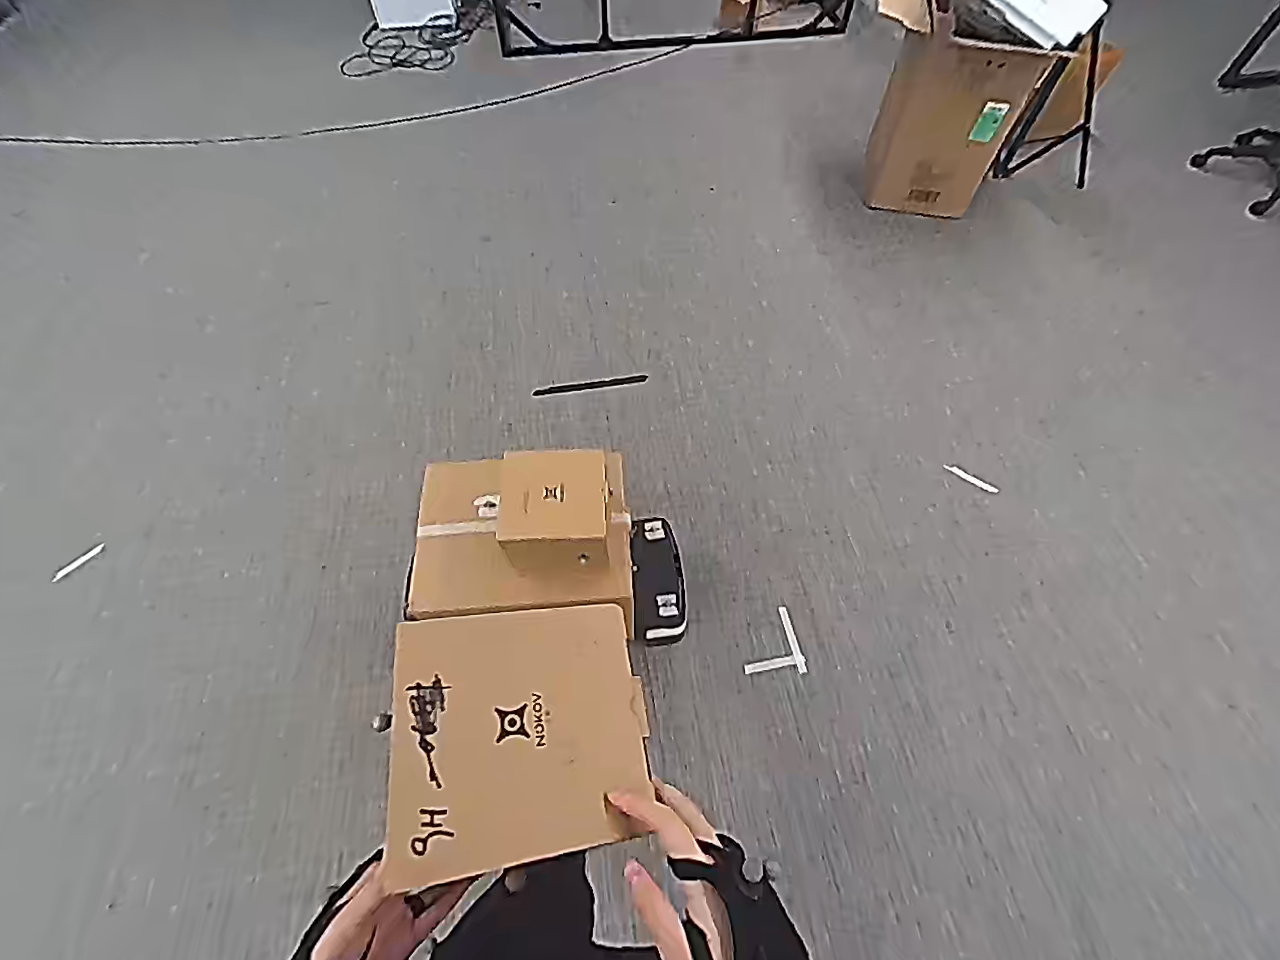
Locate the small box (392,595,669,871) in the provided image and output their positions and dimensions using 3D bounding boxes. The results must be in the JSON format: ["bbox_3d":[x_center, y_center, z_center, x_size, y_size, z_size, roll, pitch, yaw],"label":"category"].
[{"bbox_3d":[-0.097,0.204,0.442,0.179,0.176,0.168,2,54,-19],"label":"small box"}]

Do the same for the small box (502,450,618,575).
[{"bbox_3d":[-0.127,0.061,0.941,0.179,0.176,0.168,-1,60,0],"label":"small box"}]

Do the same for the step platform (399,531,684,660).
[{"bbox_3d":[-0.233,0.299,1.363,0.684,0.204,0.286,-3,59,0],"label":"step platform"}]

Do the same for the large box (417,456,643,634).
[{"bbox_3d":[-0.208,0.172,1.161,0.408,0.320,0.320,-4,59,-1],"label":"large box"}]
